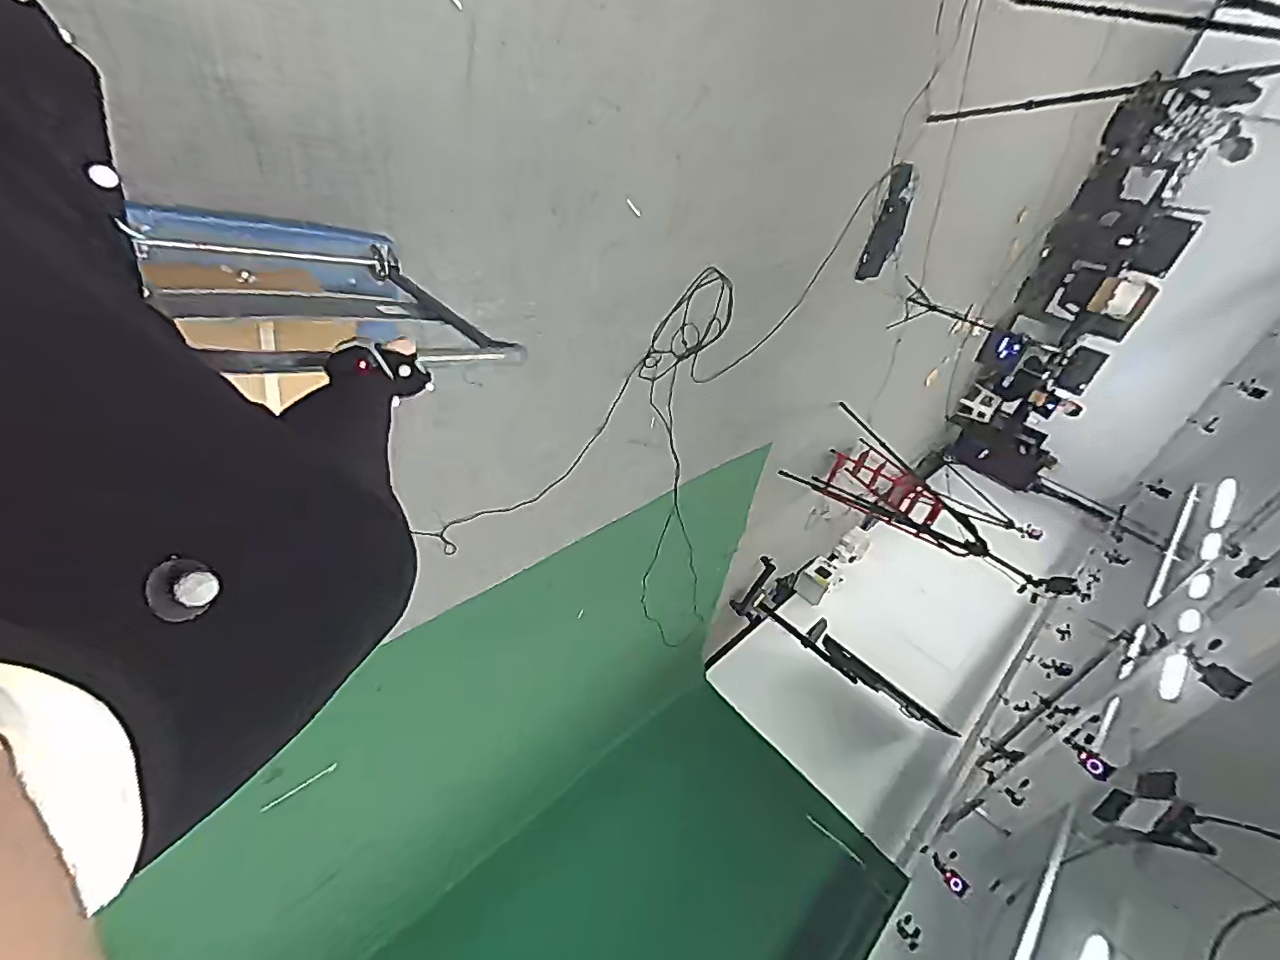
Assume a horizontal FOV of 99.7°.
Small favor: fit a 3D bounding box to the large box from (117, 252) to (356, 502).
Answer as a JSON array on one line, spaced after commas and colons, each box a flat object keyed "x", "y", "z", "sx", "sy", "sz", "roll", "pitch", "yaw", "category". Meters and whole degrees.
[{"x": -0.830, "y": -0.229, "z": 1.147, "sx": 0.320, "sy": 0.320, "sz": 0.408, "roll": -17, "pitch": 135, "yaw": -43, "category": "large box"}]
